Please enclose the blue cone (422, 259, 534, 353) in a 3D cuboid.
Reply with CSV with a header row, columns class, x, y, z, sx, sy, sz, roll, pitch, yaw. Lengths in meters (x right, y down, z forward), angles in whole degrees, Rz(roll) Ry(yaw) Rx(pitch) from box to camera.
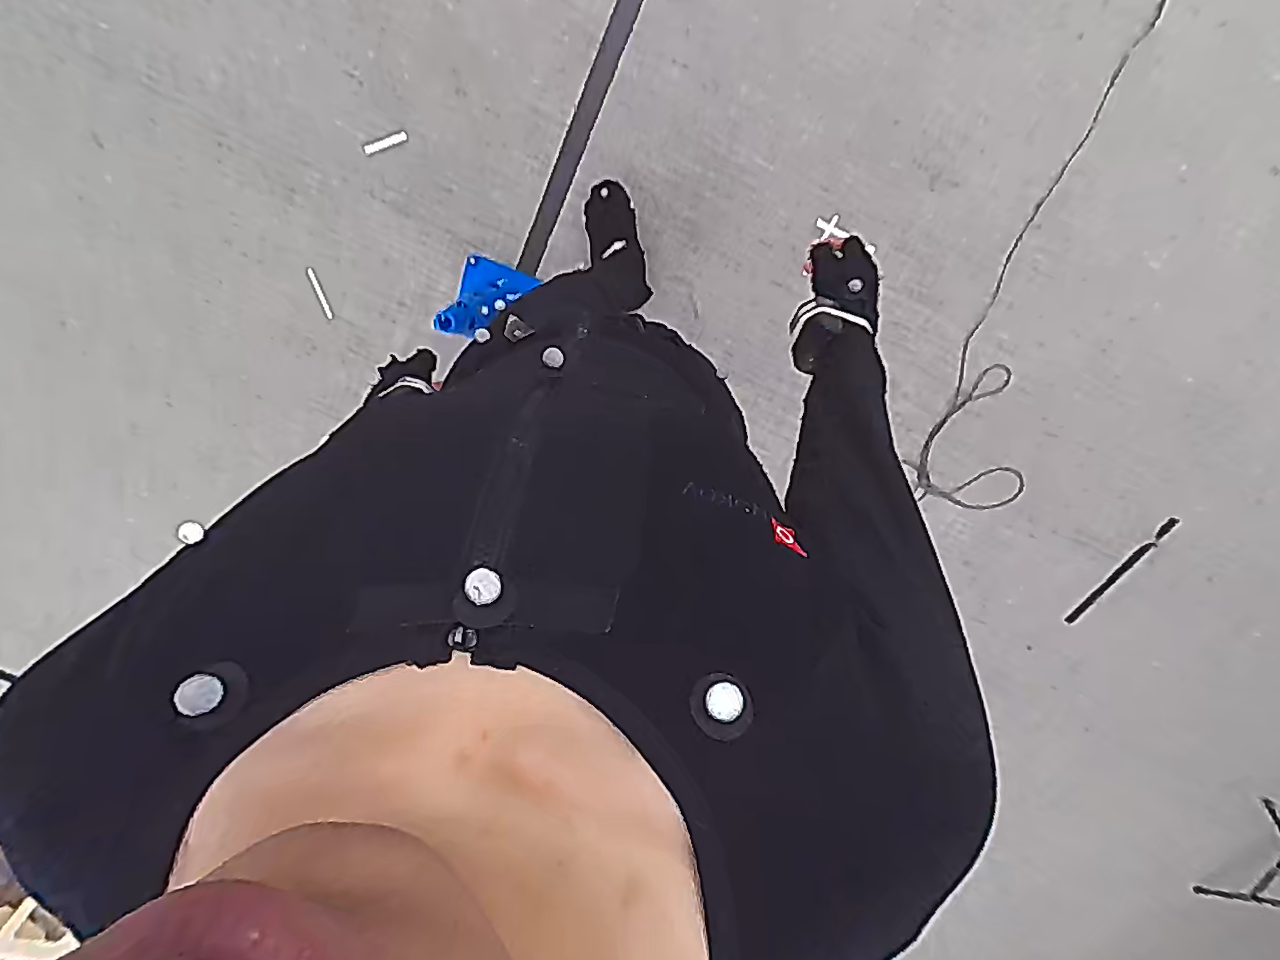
class,x,y,z,sx,sy,sz,roll,pitch,yaw
blue cone,-0.376,-0.368,1.191,0.192,0.380,0.193,22,111,-6
